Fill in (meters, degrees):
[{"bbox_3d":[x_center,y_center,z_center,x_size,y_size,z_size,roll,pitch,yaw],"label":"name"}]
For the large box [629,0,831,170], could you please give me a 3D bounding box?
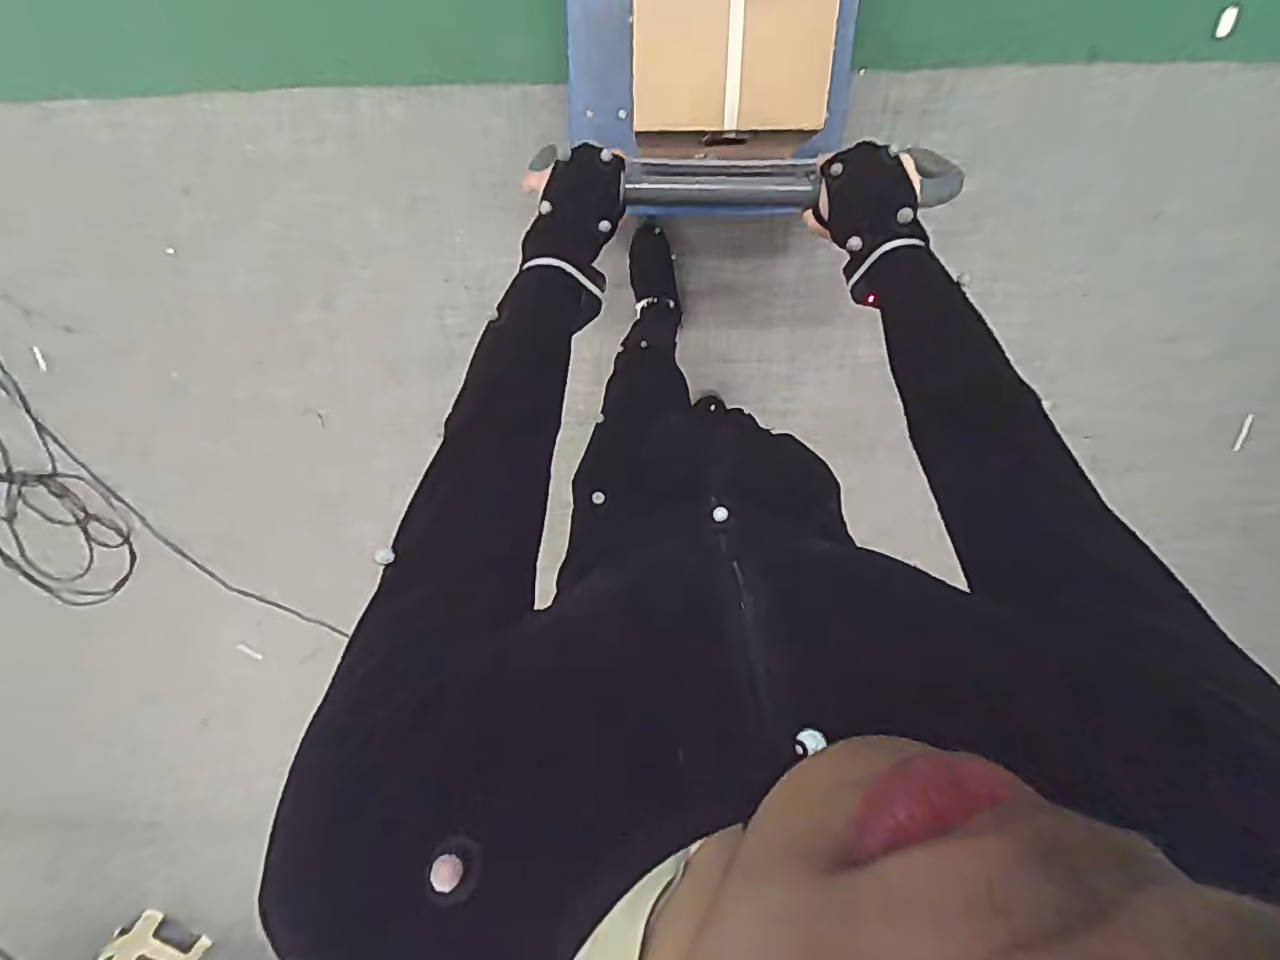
[{"bbox_3d":[0.147,-0.808,0.966,0.320,0.320,0.408,1,111,2],"label":"large box"}]
